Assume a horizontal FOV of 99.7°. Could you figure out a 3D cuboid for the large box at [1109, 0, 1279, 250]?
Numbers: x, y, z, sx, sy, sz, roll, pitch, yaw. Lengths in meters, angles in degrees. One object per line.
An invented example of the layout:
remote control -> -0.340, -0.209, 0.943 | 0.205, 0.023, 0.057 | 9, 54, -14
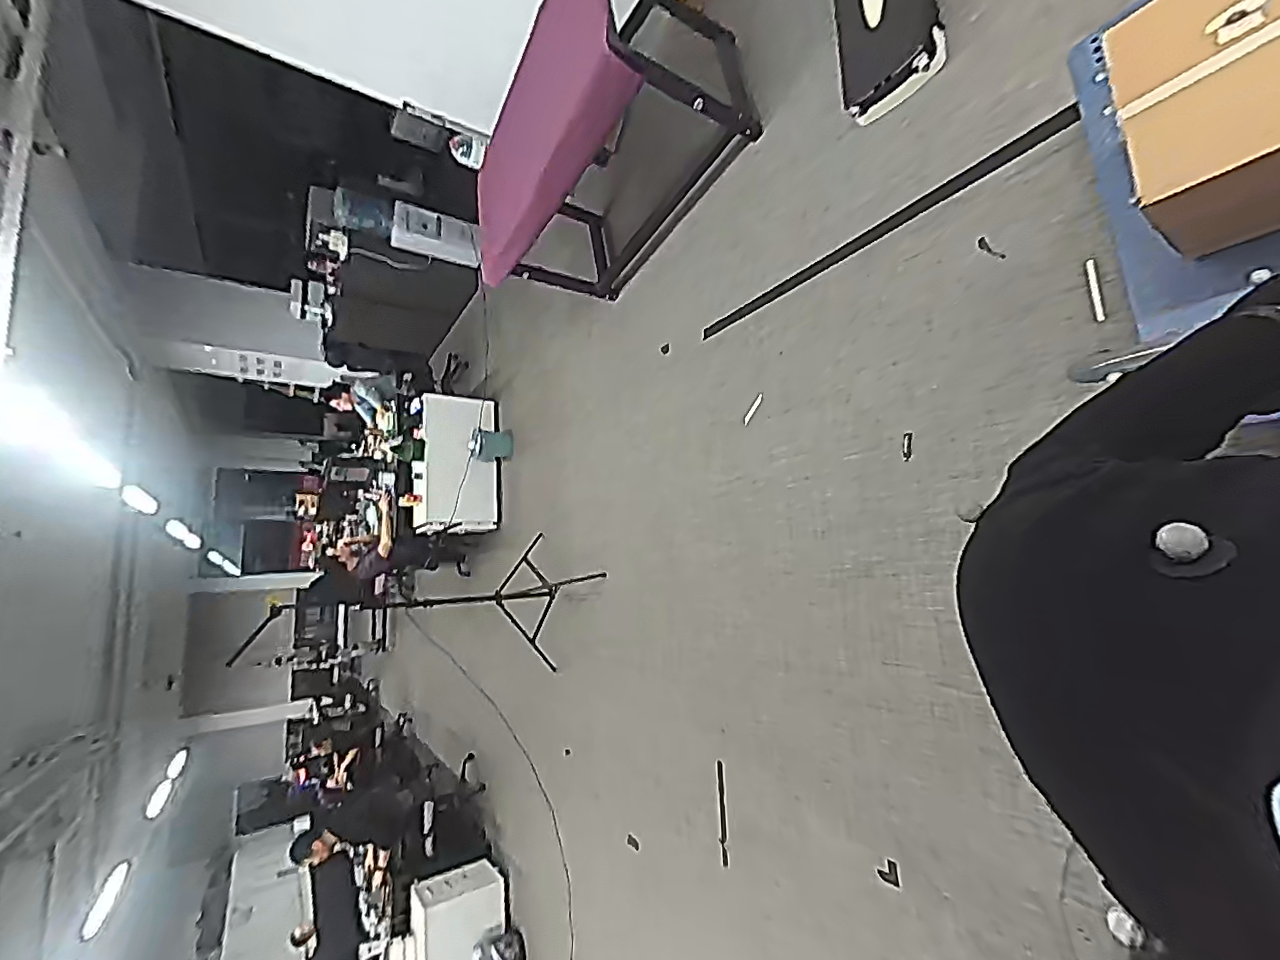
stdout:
large box -> 1.002, -0.601, 0.769 | 0.408, 0.320, 0.320 | -17, 73, 55
